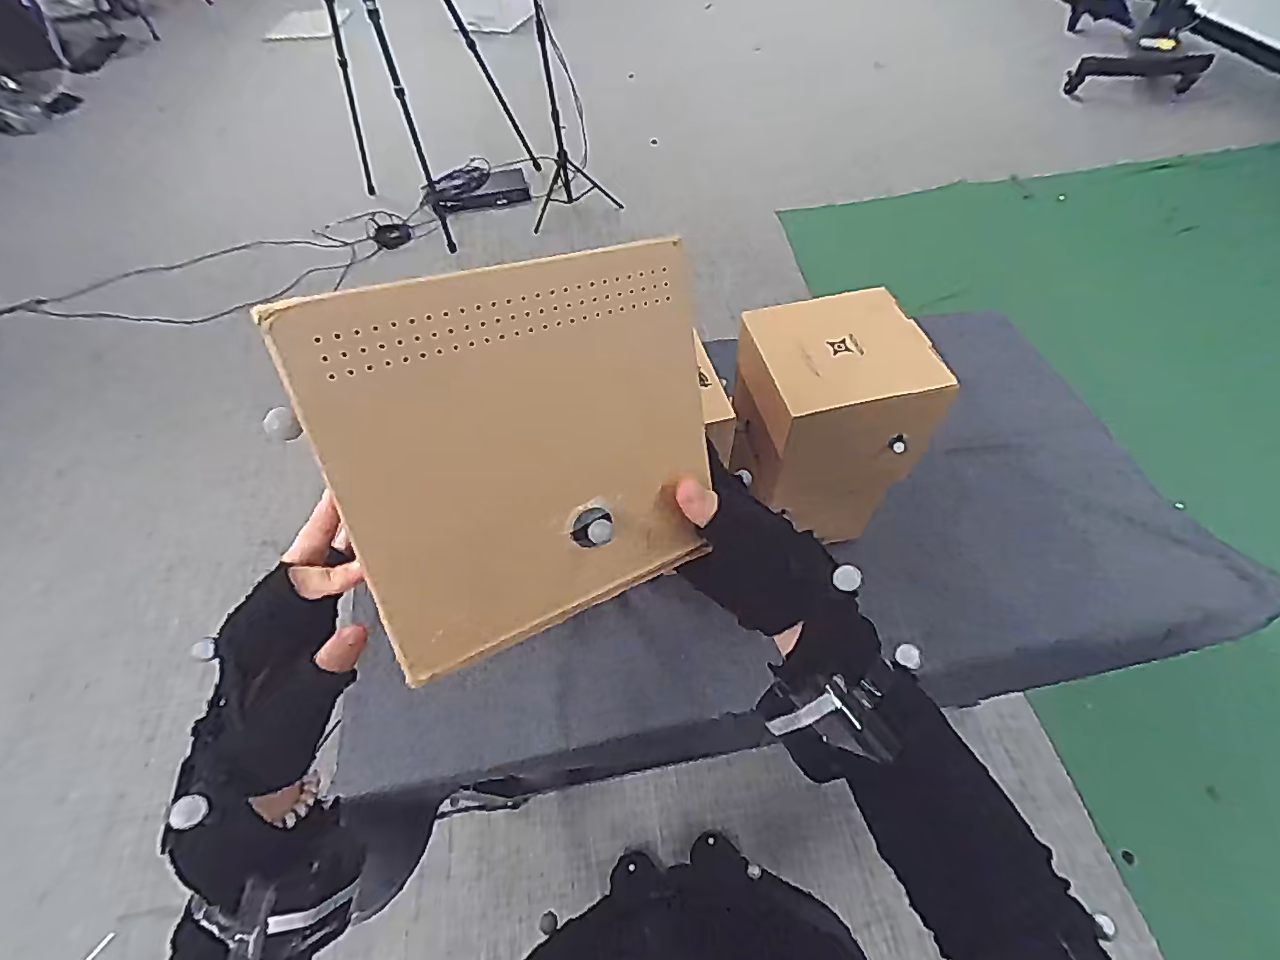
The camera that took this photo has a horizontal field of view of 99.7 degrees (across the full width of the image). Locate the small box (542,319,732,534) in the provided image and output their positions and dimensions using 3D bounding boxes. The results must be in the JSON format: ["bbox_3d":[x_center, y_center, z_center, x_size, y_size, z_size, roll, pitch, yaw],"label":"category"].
[{"bbox_3d":[-0.002,-0.056,0.639,0.179,0.176,0.168,-15,57,-5],"label":"small box"}]
